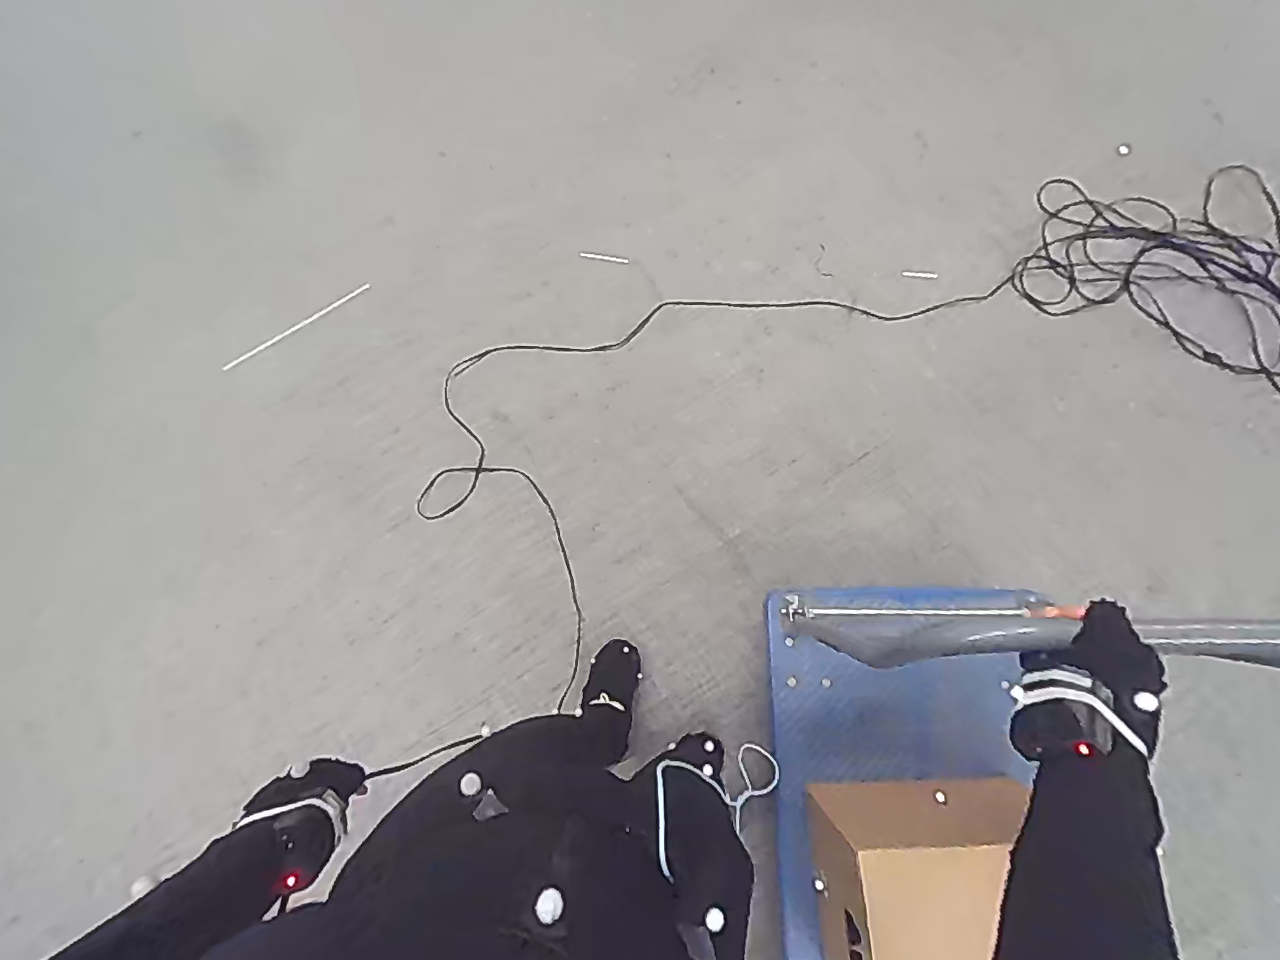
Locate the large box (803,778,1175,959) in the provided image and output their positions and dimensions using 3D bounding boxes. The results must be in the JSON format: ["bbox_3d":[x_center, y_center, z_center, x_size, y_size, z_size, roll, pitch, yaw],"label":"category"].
[{"bbox_3d":[0.518,0.697,0.866,0.408,0.320,0.320,-4,76,1],"label":"large box"}]
